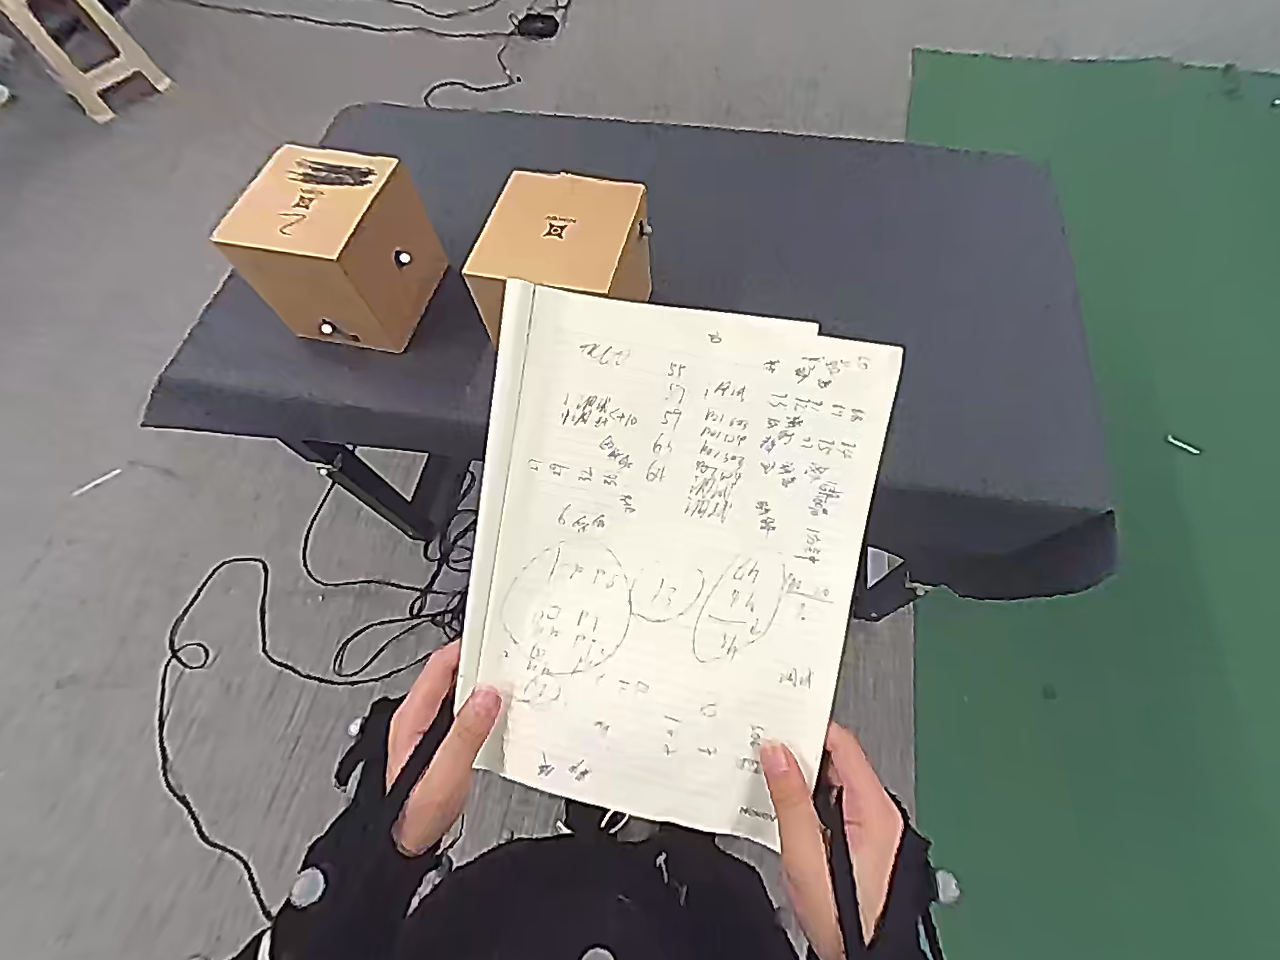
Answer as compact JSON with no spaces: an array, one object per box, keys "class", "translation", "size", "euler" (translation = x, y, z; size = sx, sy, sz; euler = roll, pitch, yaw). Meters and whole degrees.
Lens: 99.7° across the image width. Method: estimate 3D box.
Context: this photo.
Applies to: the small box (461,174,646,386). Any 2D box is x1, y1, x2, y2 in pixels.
[{"class":"small box","translation":[-0.089,-0.239,0.669],"size":[0.168,0.176,0.179],"euler":[11,64,9]}]
